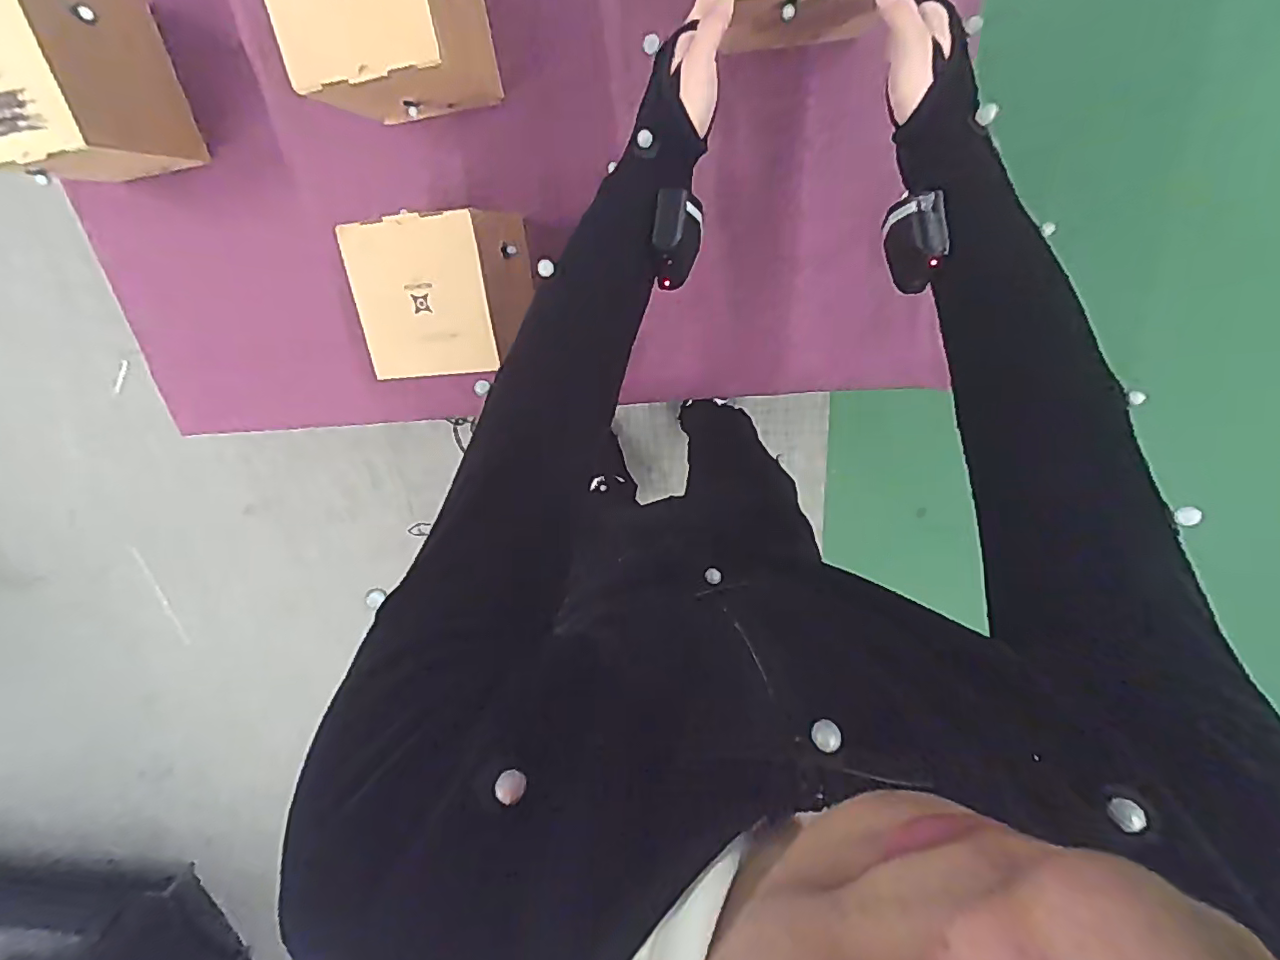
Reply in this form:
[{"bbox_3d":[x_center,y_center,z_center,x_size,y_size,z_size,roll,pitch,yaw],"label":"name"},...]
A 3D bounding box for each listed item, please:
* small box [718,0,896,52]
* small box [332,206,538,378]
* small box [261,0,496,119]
[{"bbox_3d":[0.155,-0.531,0.496,0.168,0.176,0.179,0,116,9],"label":"small box"},{"bbox_3d":[-0.240,-0.234,0.681,0.168,0.176,0.179,-2,113,9],"label":"small box"},{"bbox_3d":[-0.269,-0.506,0.564,0.168,0.176,0.179,-4,114,9],"label":"small box"}]
